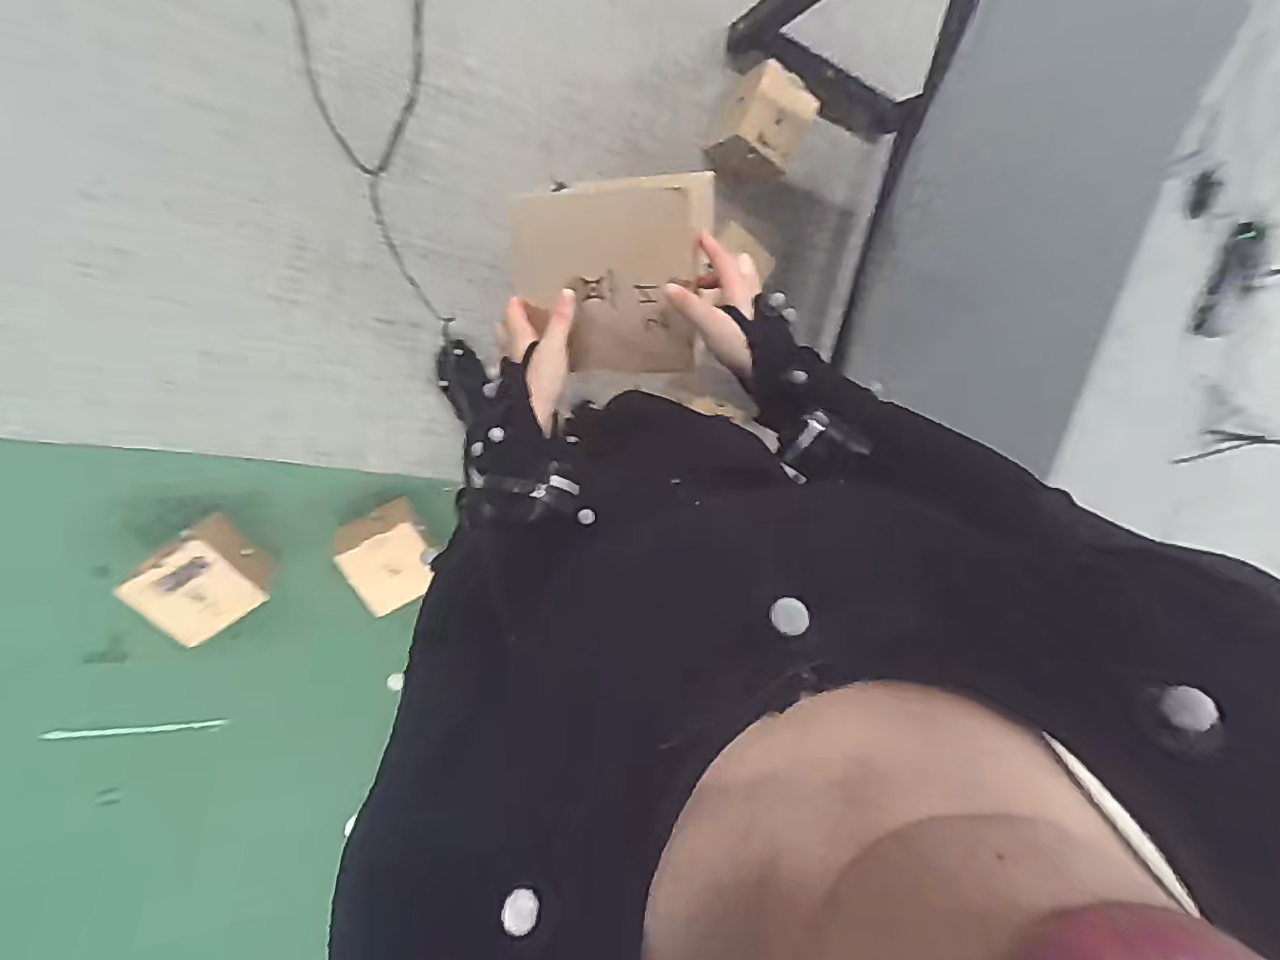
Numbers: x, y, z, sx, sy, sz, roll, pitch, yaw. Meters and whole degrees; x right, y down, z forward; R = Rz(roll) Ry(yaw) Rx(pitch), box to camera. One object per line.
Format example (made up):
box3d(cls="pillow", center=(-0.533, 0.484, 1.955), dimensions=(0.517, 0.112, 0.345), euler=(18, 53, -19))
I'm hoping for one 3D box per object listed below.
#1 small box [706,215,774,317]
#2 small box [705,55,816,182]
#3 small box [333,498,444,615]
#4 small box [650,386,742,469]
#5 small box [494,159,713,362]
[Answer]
box3d(cls="small box", center=(0.200, -0.538, 1.385), dimensions=(0.168, 0.176, 0.179), euler=(29, 91, -31))
box3d(cls="small box", center=(0.287, -0.868, 1.320), dimensions=(0.168, 0.176, 0.179), euler=(20, 96, -29))
box3d(cls="small box", center=(-0.573, 0.169, 1.247), dimensions=(0.168, 0.176, 0.179), euler=(-29, 116, -14))
box3d(cls="small box", center=(0.146, -0.148, 1.485), dimensions=(0.168, 0.176, 0.179), euler=(13, 102, -28))
box3d(cls="small box", center=(-0.022, -0.232, 0.569), dimensions=(0.179, 0.176, 0.168), euler=(2, 124, 14))
